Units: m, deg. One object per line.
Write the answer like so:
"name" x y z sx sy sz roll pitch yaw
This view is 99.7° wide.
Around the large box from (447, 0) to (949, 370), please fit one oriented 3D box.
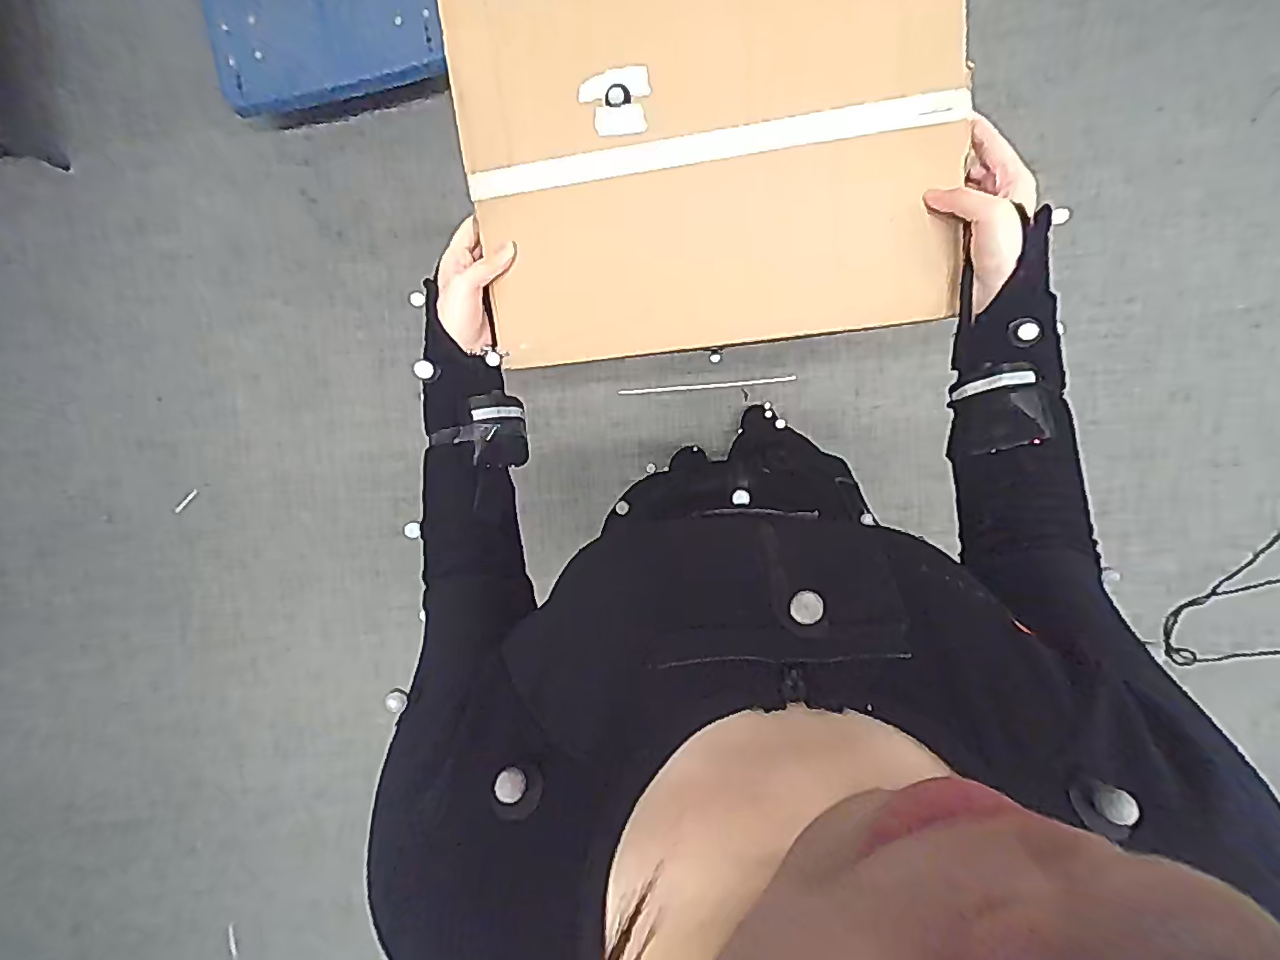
"large box" 0.070 -0.312 0.603 0.408 0.320 0.320 -6 103 9
